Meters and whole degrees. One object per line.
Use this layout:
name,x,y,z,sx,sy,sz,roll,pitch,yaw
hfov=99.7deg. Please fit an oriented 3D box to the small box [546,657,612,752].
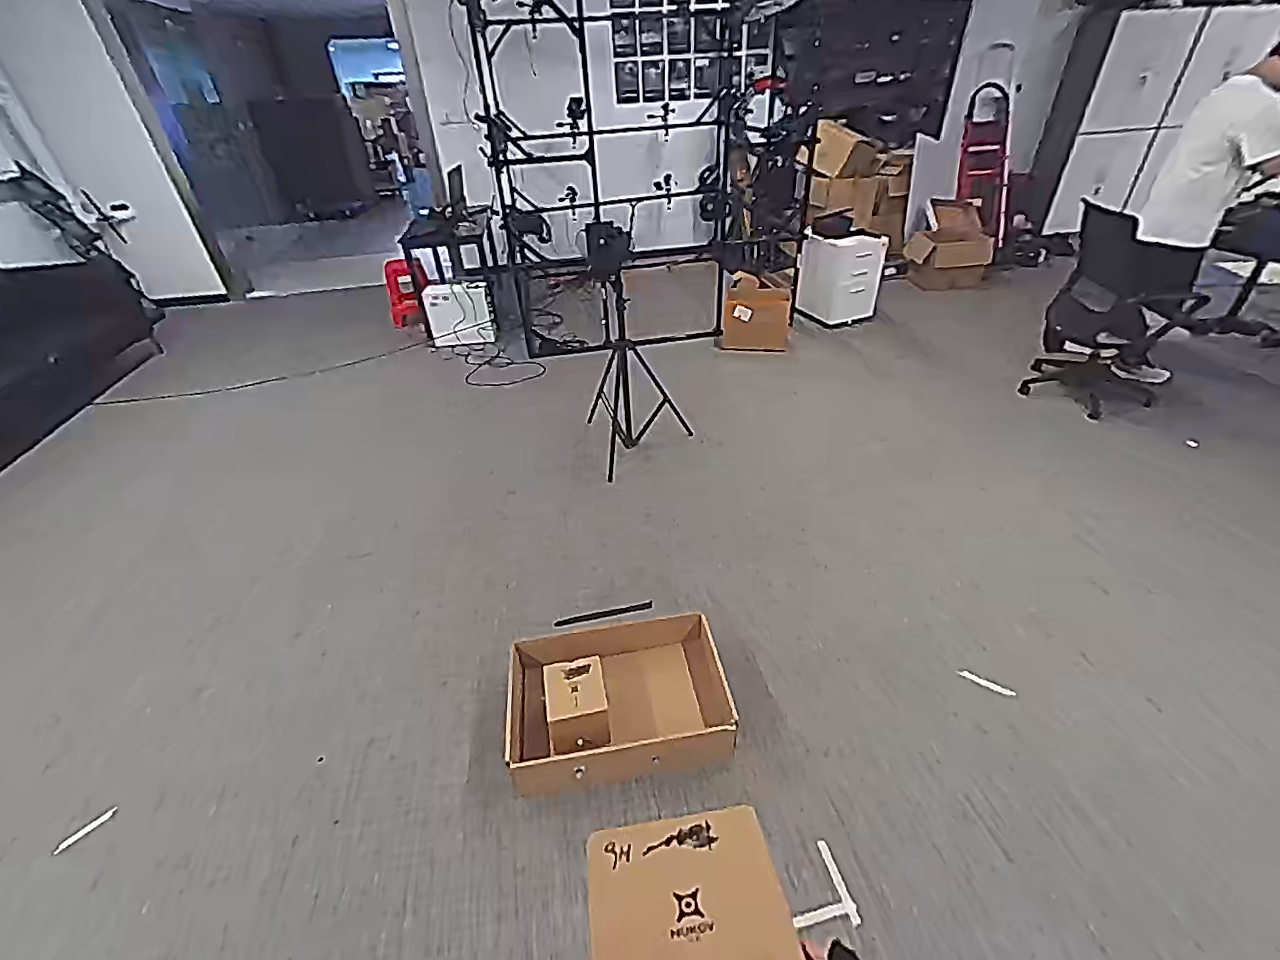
small box,-0.176,0.642,1.549,0.168,0.176,0.179,-8,36,-8

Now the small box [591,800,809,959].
small box,0.050,0.428,0.474,0.168,0.176,0.179,-7,23,-5
